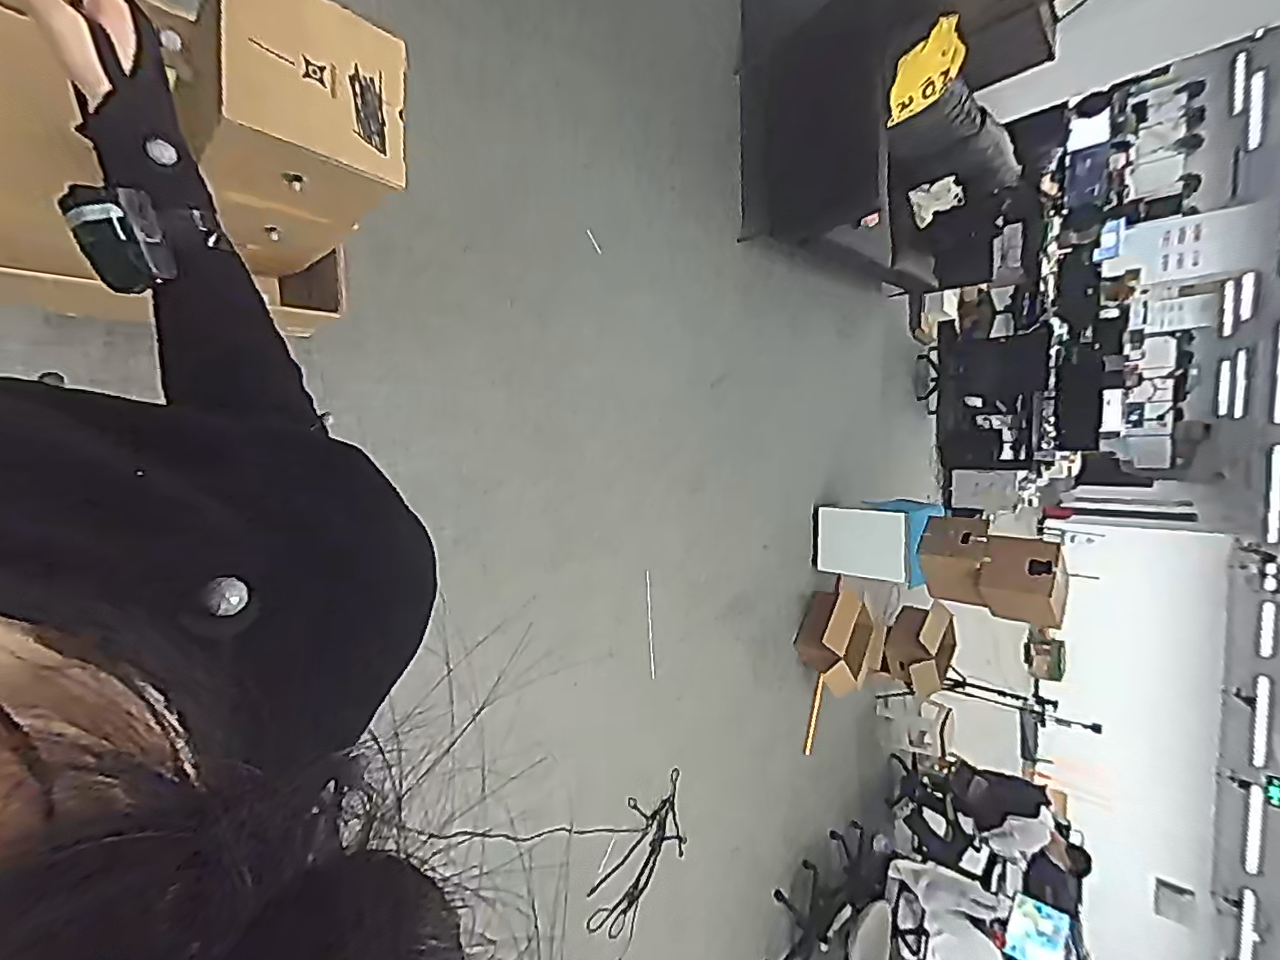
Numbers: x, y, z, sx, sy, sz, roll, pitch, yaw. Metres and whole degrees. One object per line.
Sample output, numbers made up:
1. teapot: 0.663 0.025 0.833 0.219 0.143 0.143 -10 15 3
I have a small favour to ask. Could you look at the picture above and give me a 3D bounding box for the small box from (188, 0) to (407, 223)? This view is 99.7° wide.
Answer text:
1. small box: -0.390 -0.418 0.619 0.179 0.176 0.168 0 92 -46
